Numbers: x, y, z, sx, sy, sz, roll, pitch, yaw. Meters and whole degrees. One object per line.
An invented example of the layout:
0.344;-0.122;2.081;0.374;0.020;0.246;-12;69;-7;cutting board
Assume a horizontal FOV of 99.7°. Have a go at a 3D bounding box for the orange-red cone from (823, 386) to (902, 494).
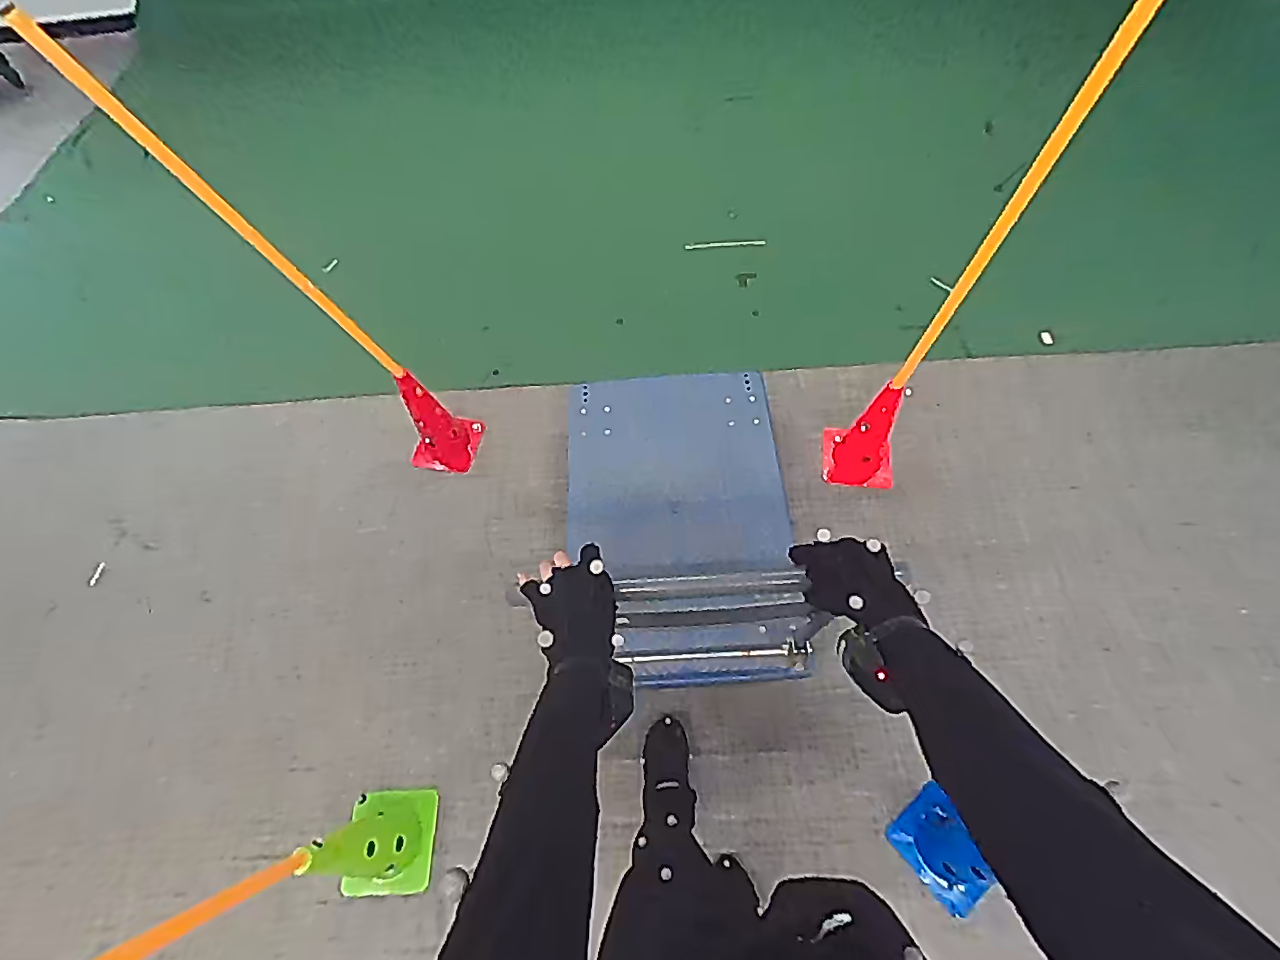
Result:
0.649;-0.134;1.498;0.198;0.360;0.199;7;62;8;orange-red cone
